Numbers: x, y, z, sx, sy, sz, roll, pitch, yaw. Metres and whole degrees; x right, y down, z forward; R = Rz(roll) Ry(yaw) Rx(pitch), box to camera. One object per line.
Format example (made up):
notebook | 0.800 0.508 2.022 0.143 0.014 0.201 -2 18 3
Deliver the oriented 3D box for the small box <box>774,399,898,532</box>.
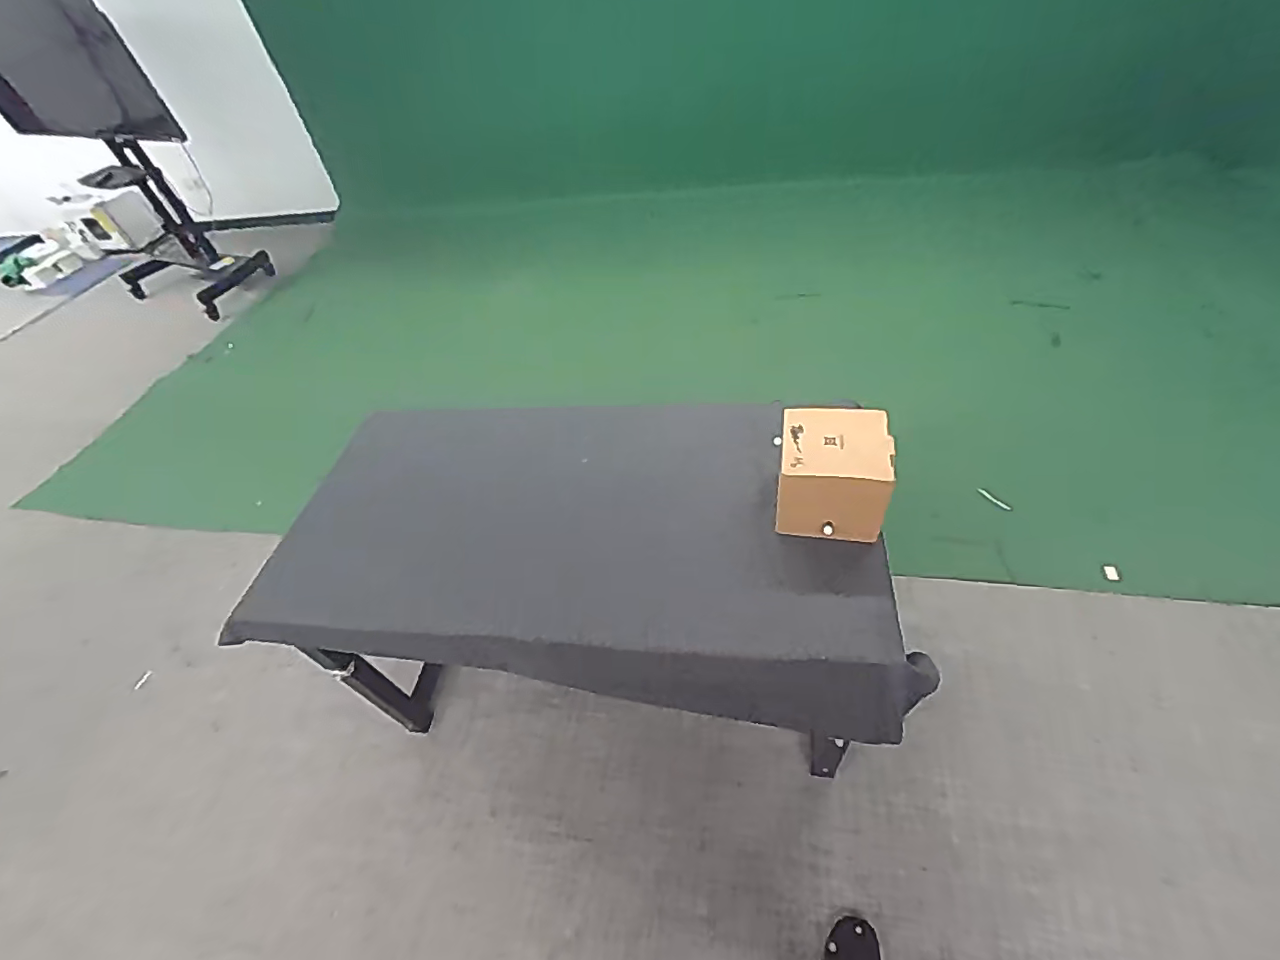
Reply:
small box | 0.342 -0.023 0.967 0.179 0.176 0.168 6 51 12
